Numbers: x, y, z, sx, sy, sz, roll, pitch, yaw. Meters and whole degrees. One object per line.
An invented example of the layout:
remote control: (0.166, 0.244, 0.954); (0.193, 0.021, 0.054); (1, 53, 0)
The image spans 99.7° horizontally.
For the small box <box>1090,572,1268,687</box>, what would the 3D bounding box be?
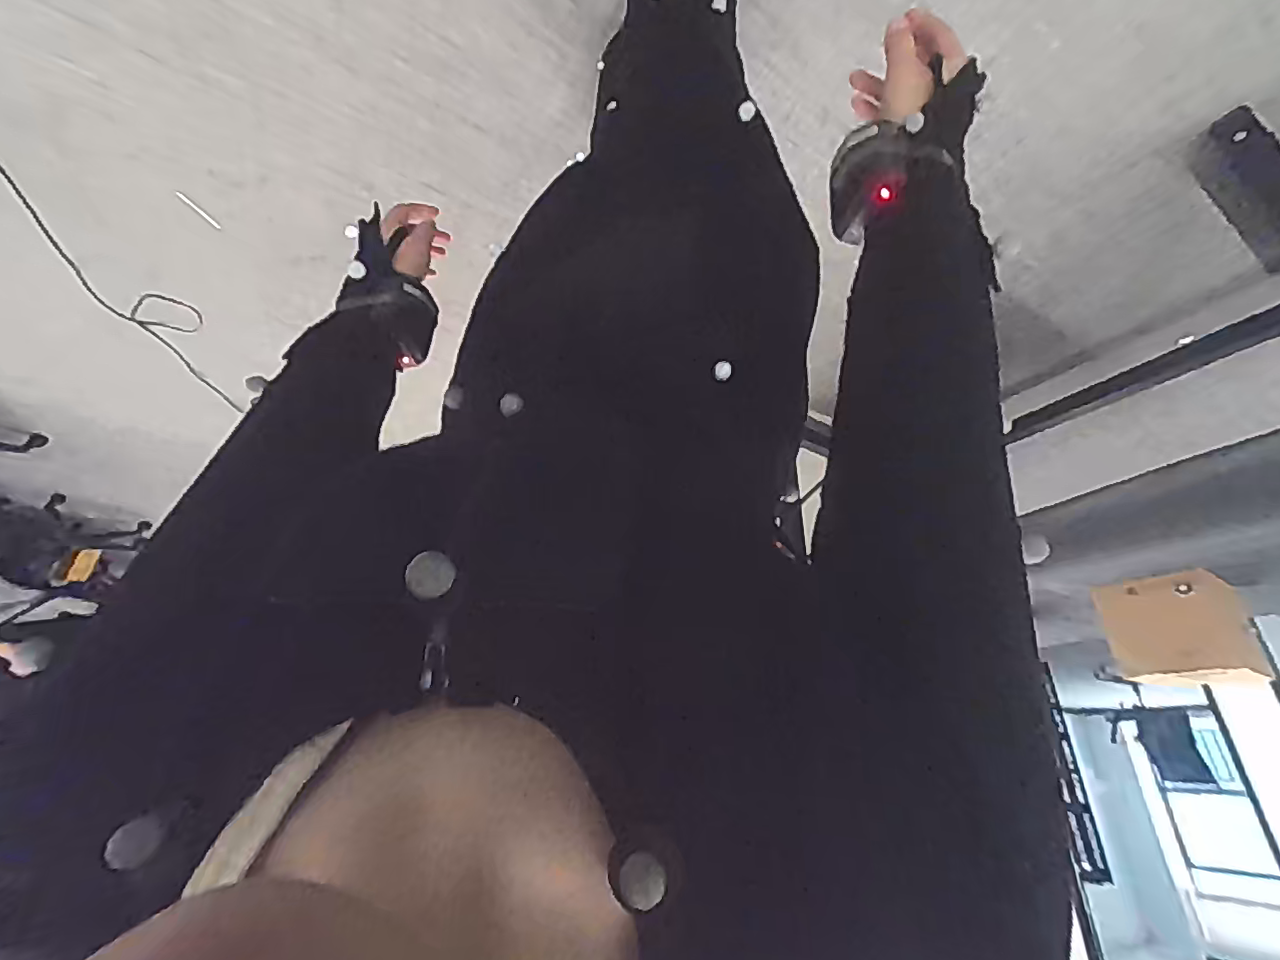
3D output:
small box: (0.975, 0.276, 0.990); (0.179, 0.176, 0.168); (18, 149, -29)
